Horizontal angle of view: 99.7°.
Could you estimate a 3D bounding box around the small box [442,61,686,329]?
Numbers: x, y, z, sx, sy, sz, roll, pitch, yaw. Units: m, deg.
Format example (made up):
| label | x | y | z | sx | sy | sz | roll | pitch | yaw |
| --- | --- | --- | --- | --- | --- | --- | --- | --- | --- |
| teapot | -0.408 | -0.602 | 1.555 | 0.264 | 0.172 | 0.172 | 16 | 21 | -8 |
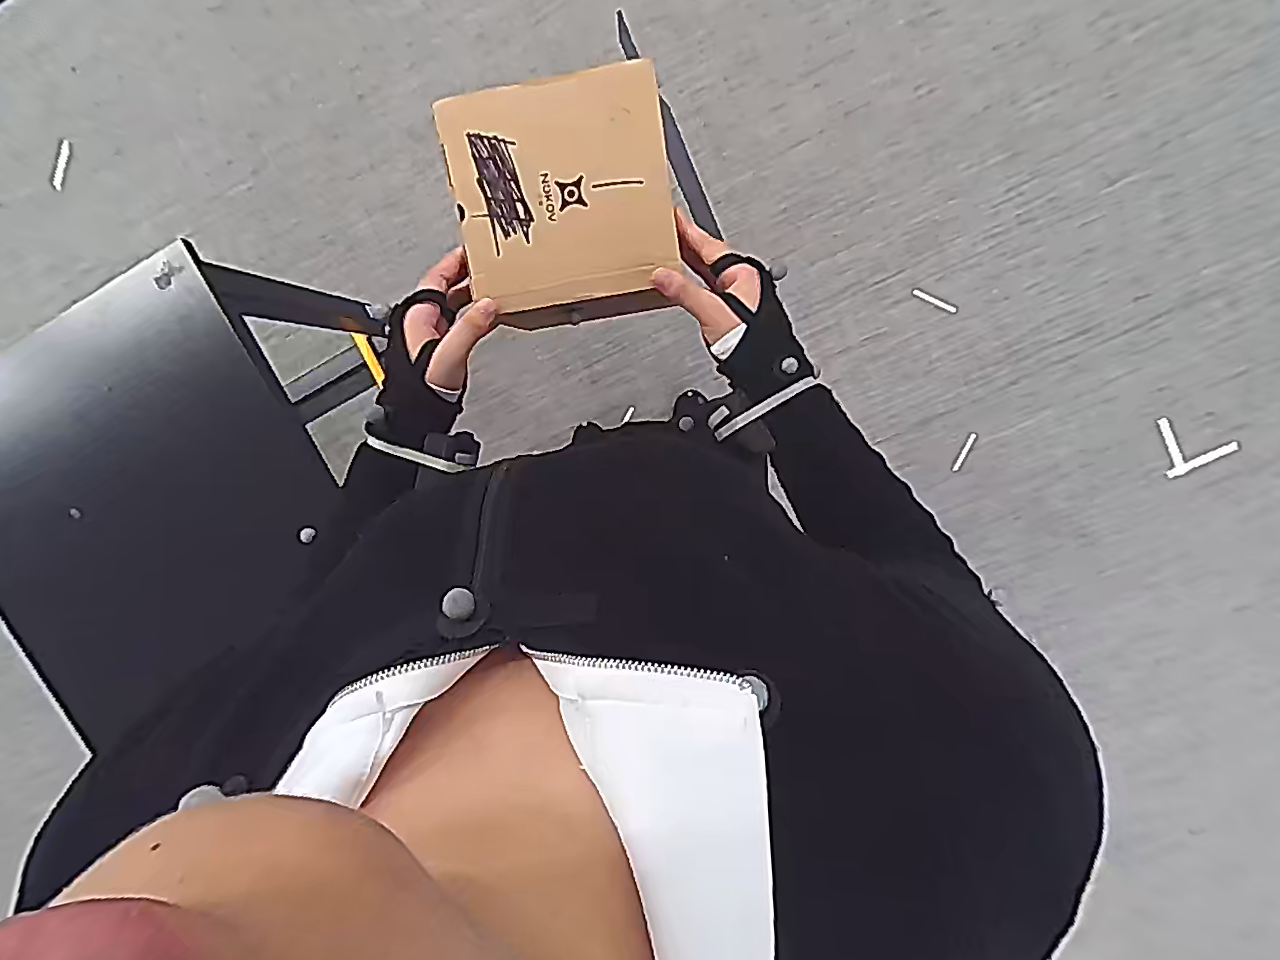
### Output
| label | x | y | z | sx | sy | sz | roll | pitch | yaw |
| --- | --- | --- | --- | --- | --- | --- | --- | --- | --- |
| small box | -0.054 | -0.241 | 0.505 | 0.179 | 0.176 | 0.168 | -8 | 102 | 4 |
